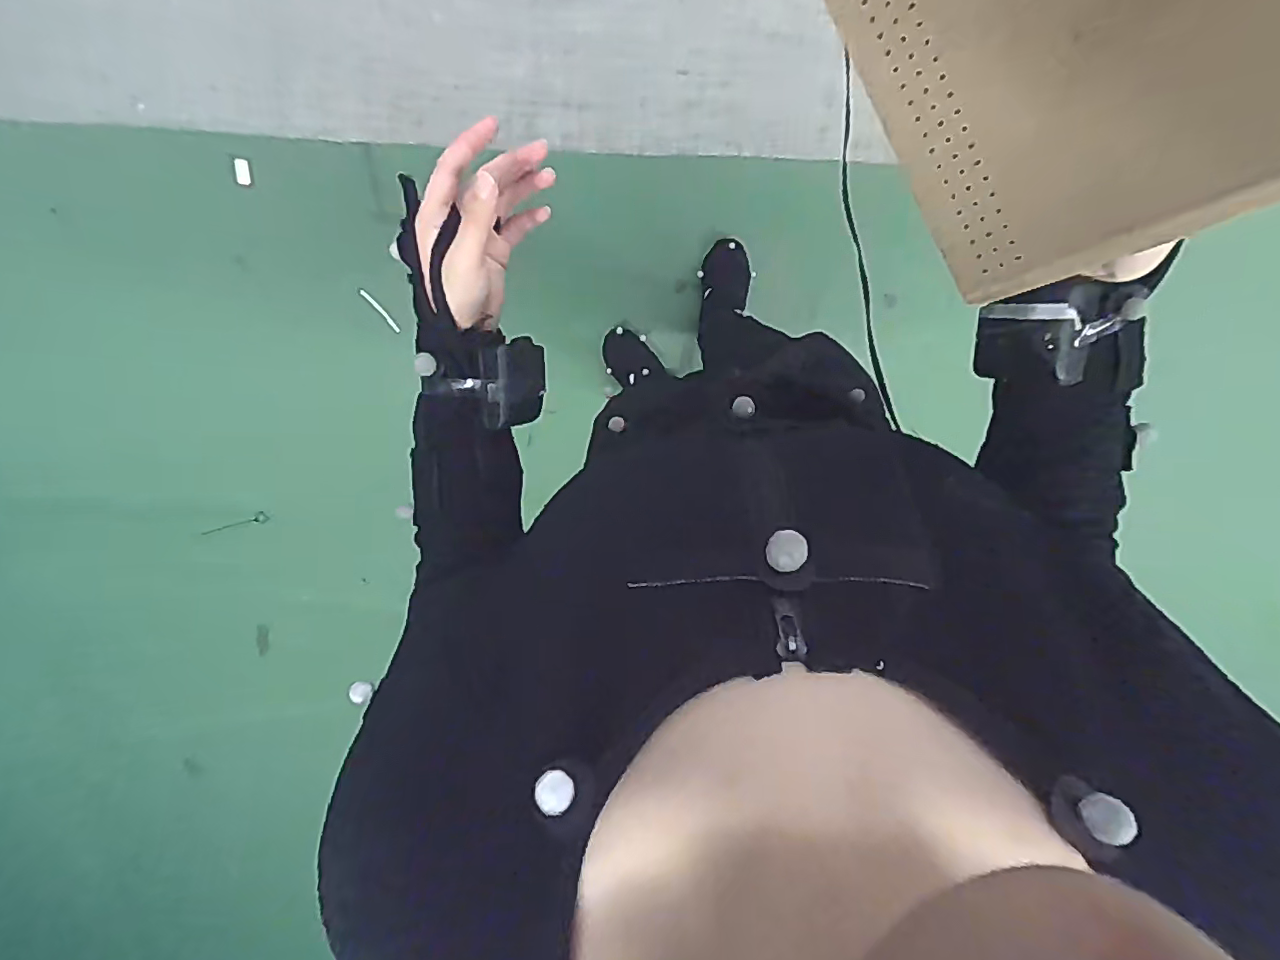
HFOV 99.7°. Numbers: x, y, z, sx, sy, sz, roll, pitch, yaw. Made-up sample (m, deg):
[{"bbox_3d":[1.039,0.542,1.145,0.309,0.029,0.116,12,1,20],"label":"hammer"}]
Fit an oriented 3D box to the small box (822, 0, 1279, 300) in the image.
[{"bbox_3d":[0.187,-0.192,0.173,0.168,0.176,0.179,-38,101,-16],"label":"small box"}]
